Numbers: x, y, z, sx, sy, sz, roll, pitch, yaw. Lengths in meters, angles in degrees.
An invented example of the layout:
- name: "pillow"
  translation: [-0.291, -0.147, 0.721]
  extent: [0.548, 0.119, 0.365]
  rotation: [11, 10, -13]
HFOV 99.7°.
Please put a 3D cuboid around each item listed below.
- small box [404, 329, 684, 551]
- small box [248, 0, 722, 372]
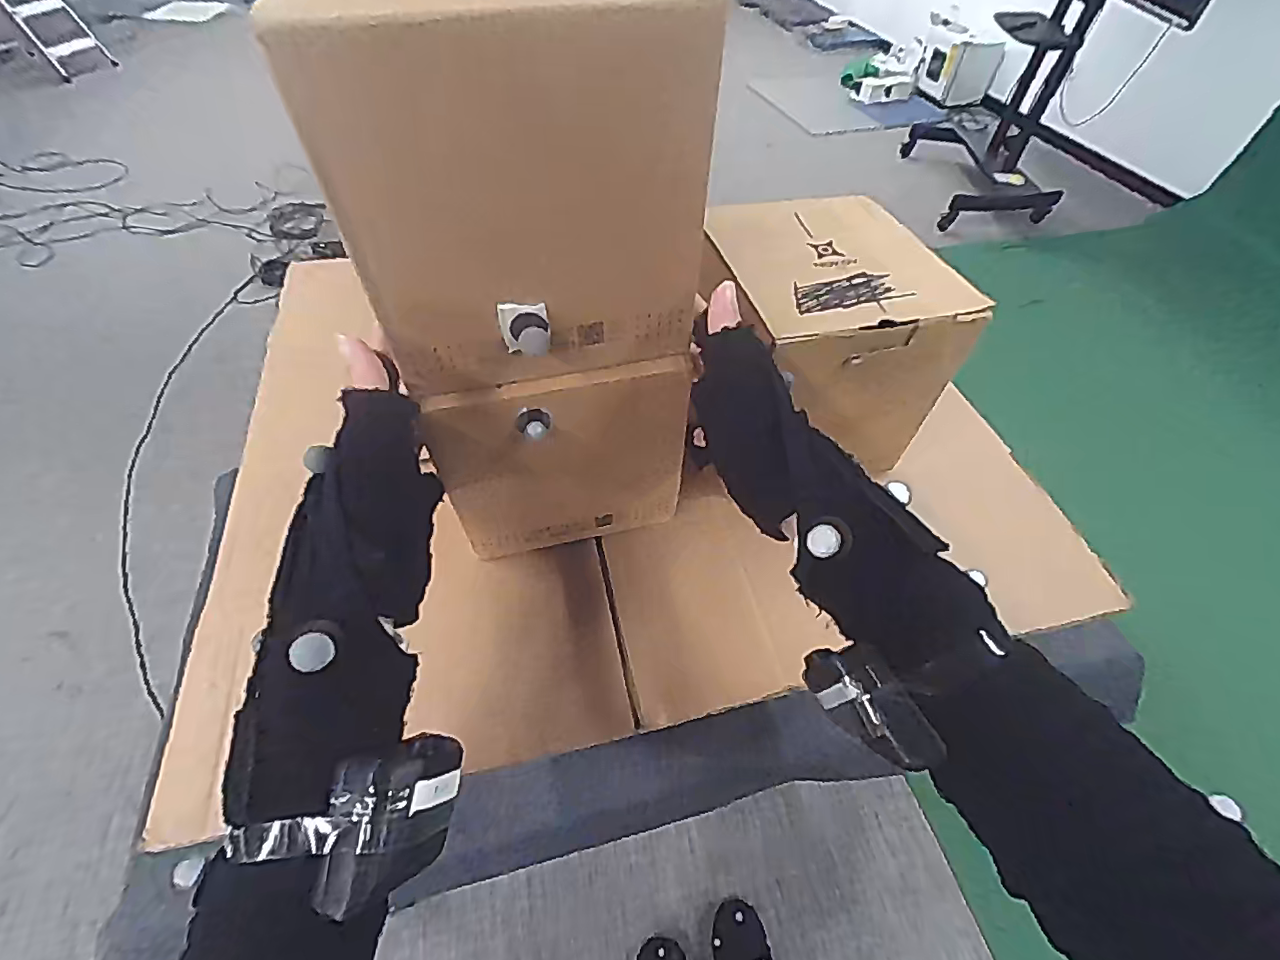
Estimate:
- name: "small box"
  translation: [-0.071, -0.071, 0.426]
  extent: [0.168, 0.176, 0.179]
  rotation: [-12, 53, -8]
- name: "small box"
  translation: [-0.072, -0.186, 0.290]
  extent: [0.168, 0.176, 0.179]
  rotation: [-14, 56, -10]
